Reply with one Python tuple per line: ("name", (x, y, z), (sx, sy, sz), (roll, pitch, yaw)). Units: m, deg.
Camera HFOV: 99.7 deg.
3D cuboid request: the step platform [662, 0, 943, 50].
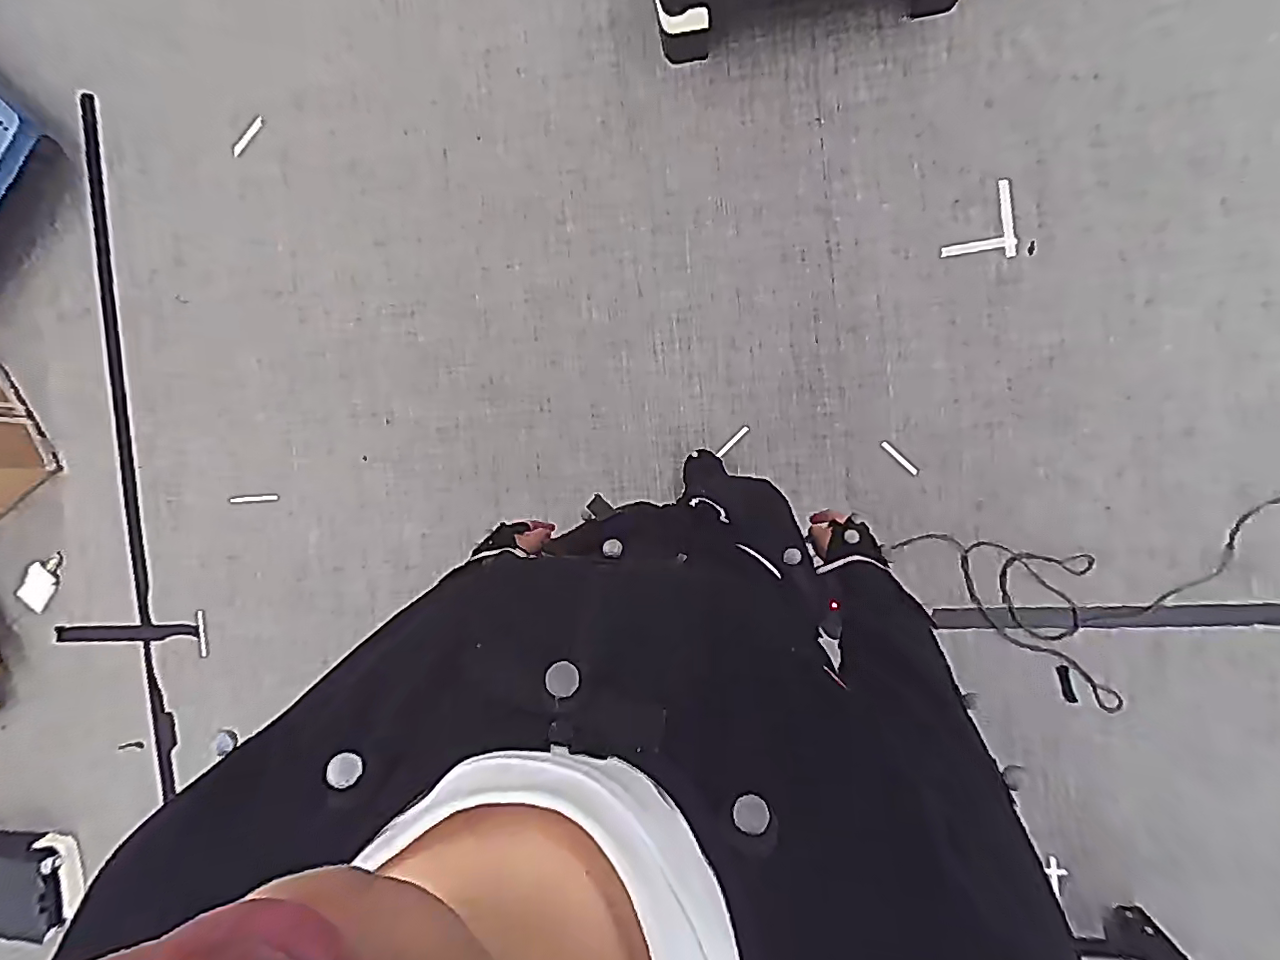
("step platform", (0.375, -1.197, 1.168), (0.684, 0.204, 0.286), (-5, 91, 10))
